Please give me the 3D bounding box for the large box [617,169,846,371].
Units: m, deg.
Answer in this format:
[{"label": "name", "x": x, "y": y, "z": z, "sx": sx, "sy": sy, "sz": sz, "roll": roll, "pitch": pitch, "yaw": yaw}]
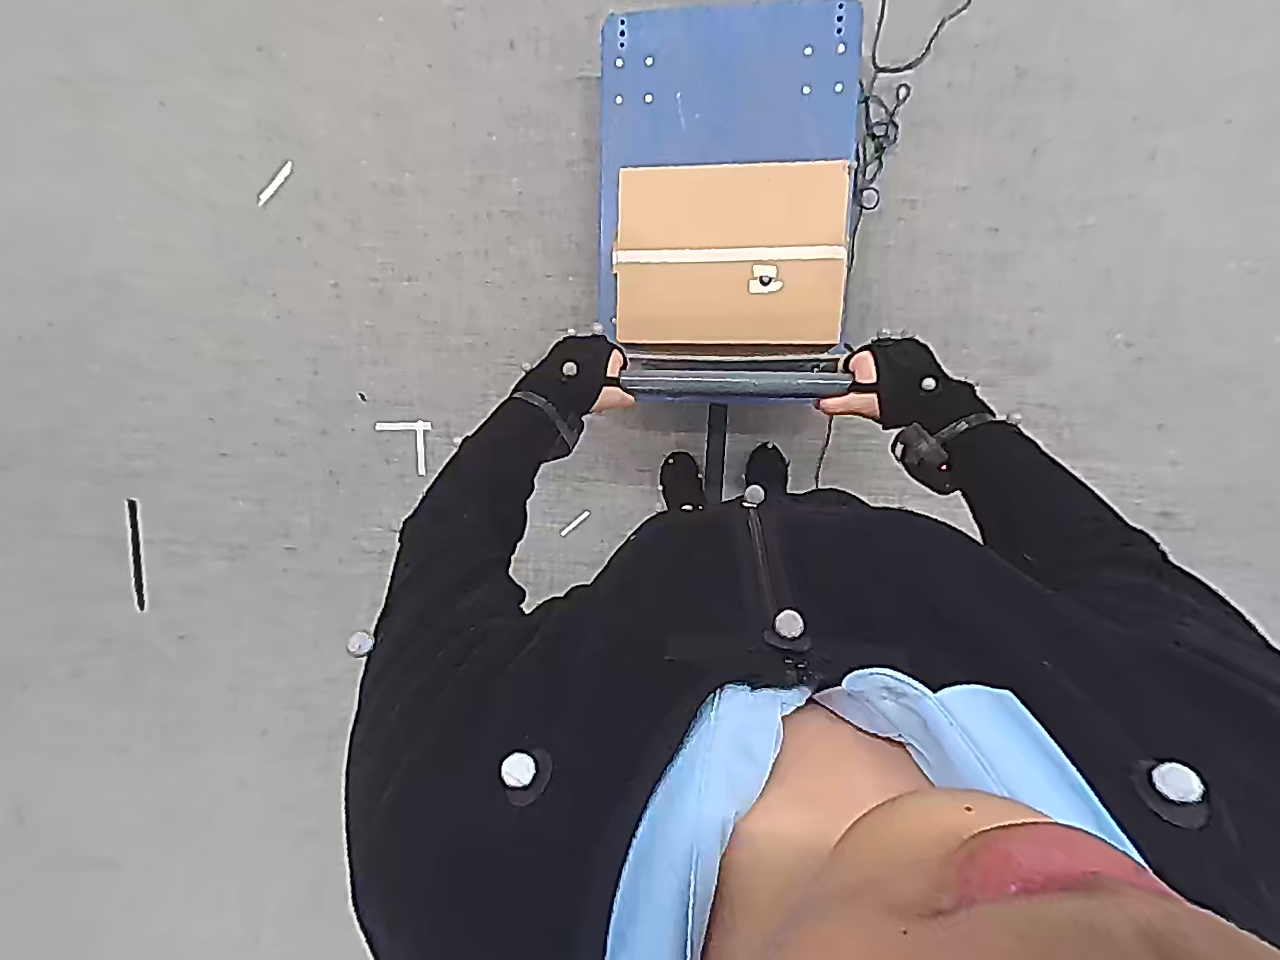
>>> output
[{"label": "large box", "x": 0.172, "y": -0.399, "z": 1.112, "sx": 0.408, "sy": 0.320, "sz": 0.320, "roll": 2, "pitch": 96, "yaw": 6}]
